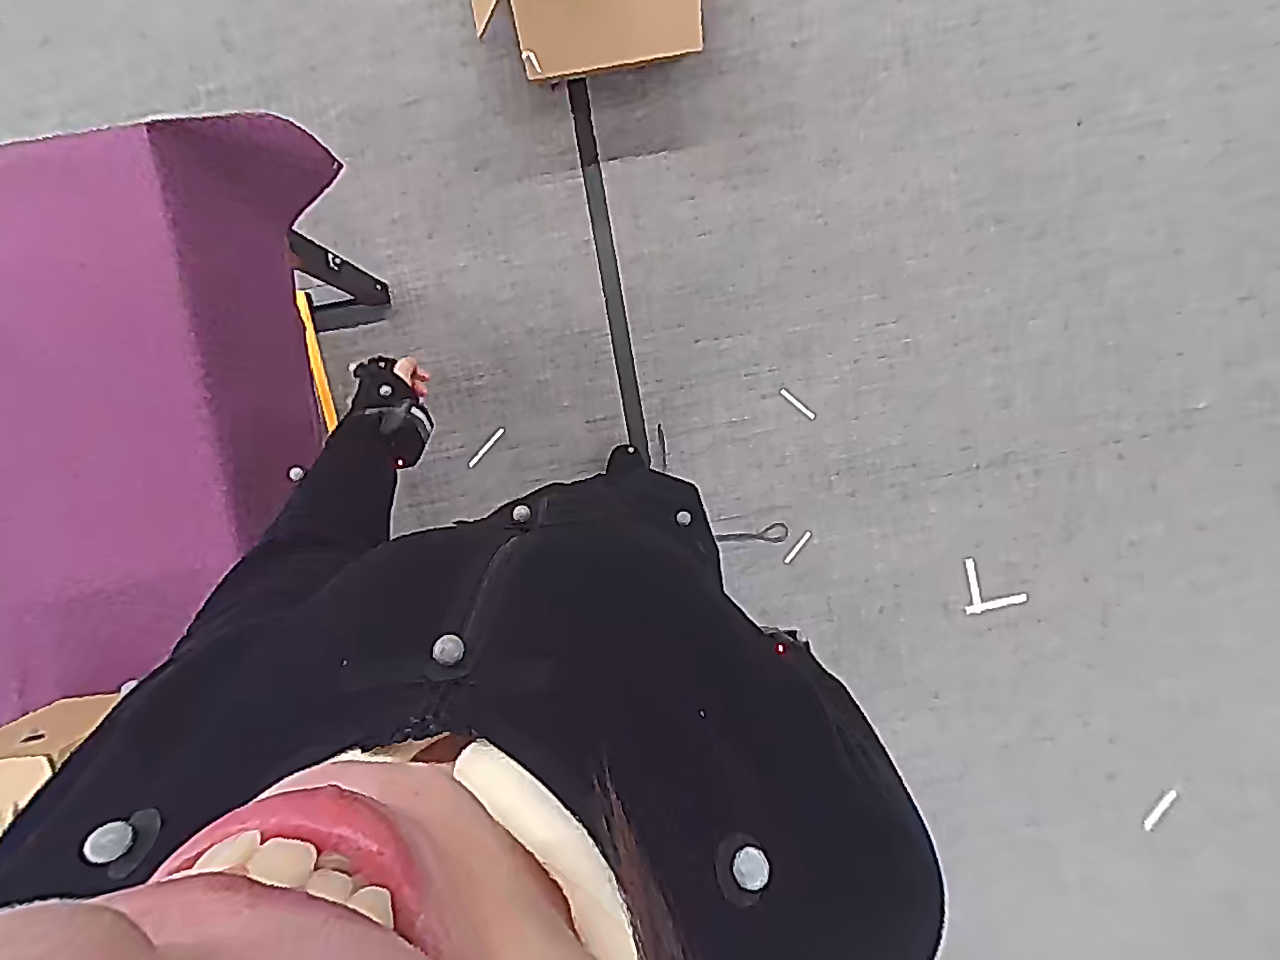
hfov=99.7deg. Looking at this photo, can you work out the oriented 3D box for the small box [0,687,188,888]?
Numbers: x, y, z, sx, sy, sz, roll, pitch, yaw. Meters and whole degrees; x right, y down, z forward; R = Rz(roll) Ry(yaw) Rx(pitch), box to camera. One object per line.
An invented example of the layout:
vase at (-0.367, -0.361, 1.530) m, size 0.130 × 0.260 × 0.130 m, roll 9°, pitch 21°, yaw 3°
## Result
small box at (-0.743, 0.390, 0.710) m, size 0.179 × 0.176 × 0.168 m, roll -7°, pitch 94°, yaw 1°
